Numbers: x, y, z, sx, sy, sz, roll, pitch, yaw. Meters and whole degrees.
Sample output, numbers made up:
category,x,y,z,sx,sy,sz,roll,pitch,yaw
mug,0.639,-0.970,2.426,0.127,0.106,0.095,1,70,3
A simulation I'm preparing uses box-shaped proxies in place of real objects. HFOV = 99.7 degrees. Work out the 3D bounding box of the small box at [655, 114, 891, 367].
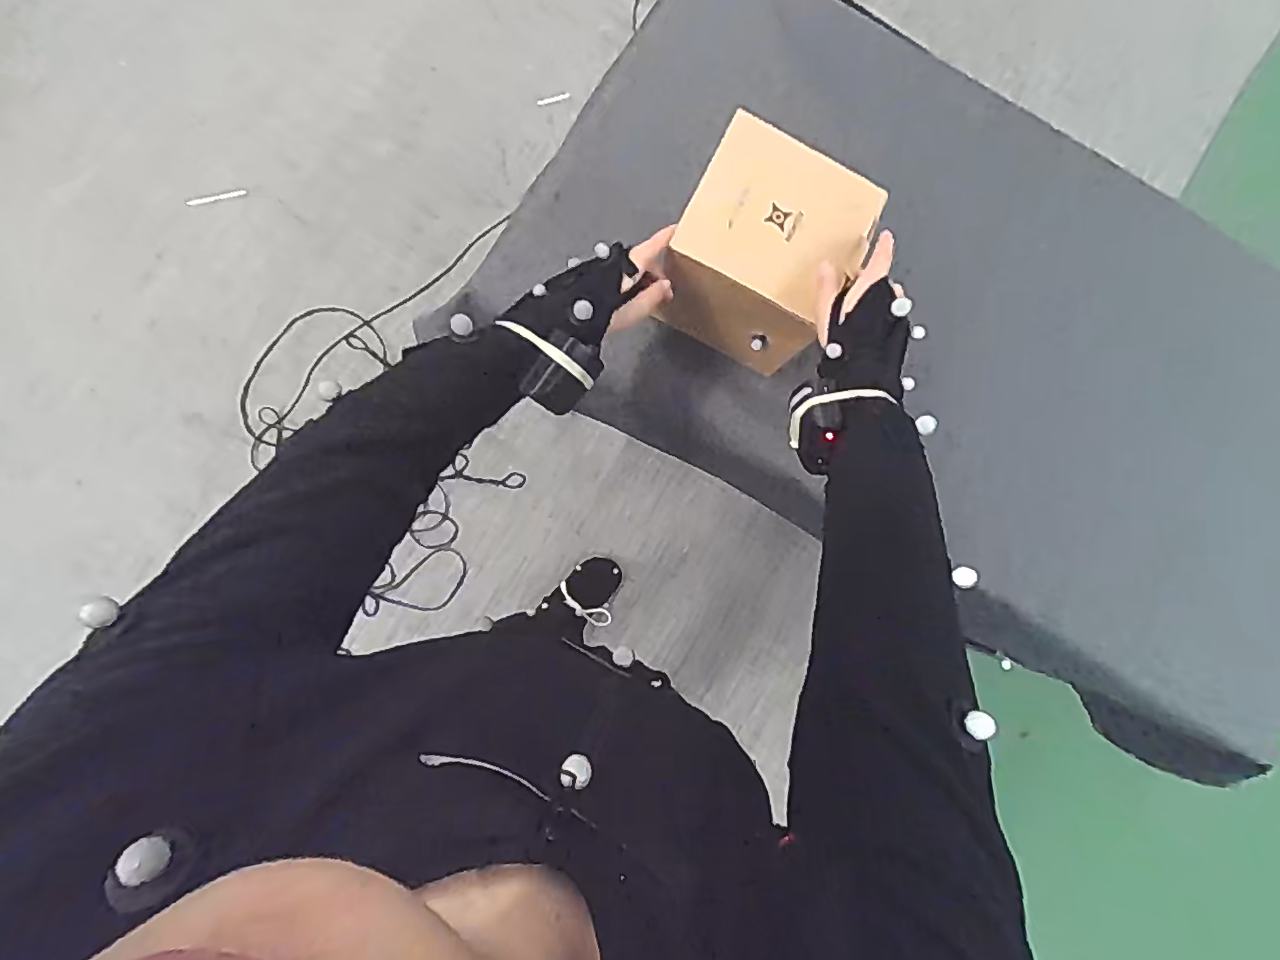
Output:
category,x,y,z,sx,sy,sz,roll,pitch,yaw
small box,0.133,-0.245,0.606,0.179,0.176,0.168,26,82,-2
